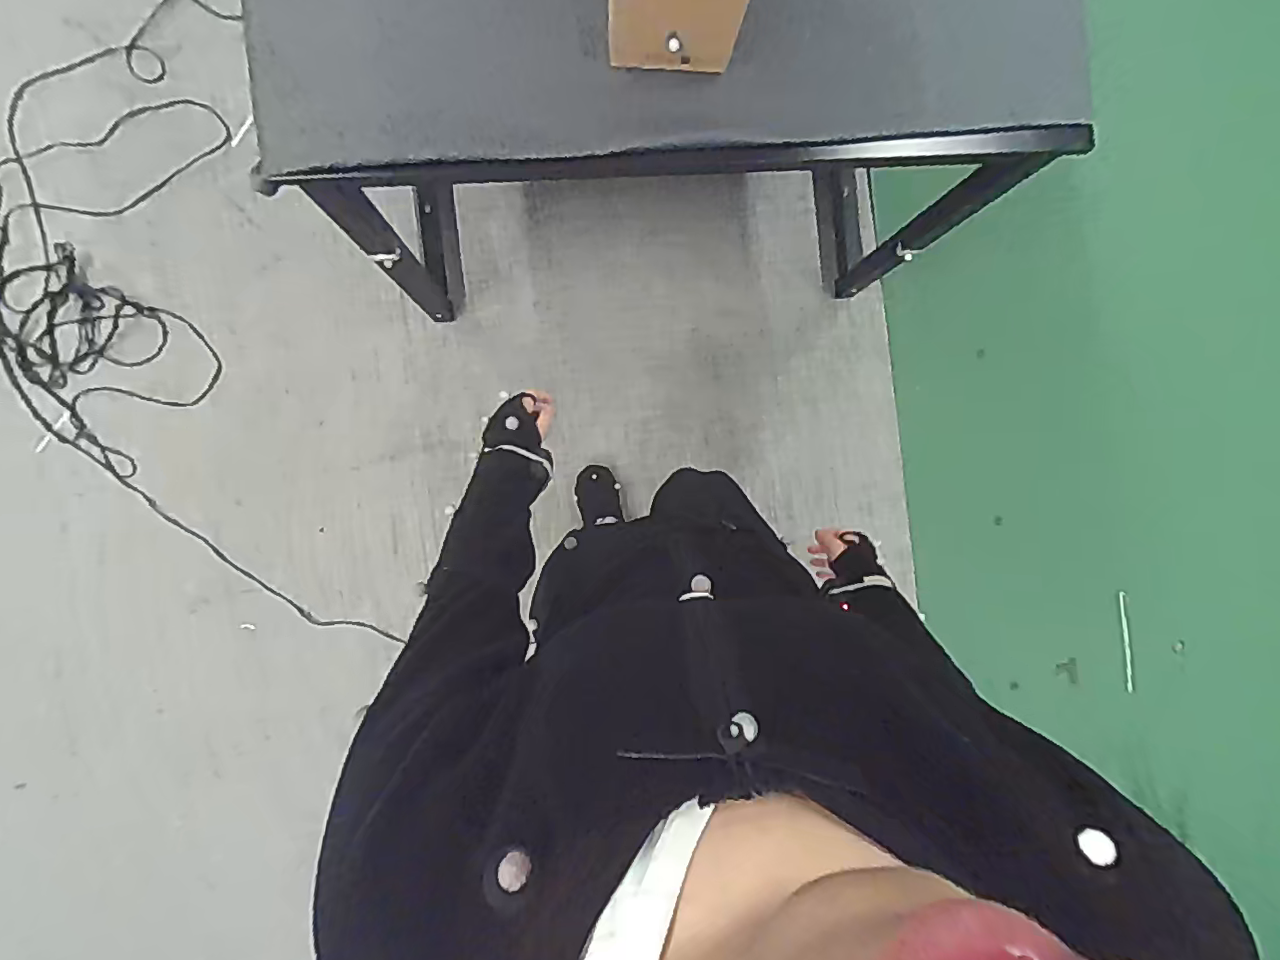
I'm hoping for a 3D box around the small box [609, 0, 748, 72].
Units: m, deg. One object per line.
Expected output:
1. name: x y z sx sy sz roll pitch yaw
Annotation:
1. small box: 0.046 -0.663 0.675 0.168 0.176 0.179 -1 89 -5
